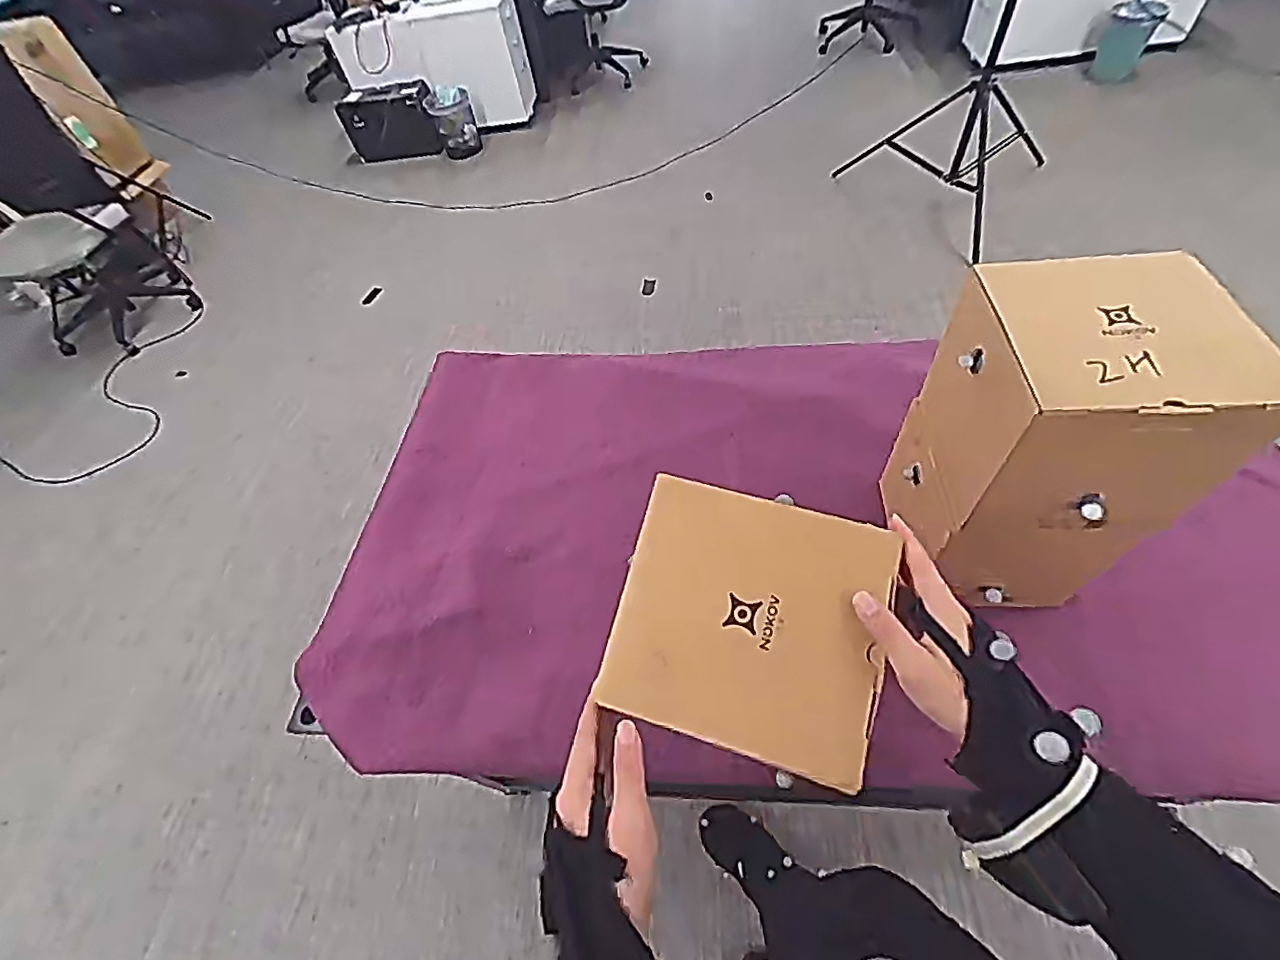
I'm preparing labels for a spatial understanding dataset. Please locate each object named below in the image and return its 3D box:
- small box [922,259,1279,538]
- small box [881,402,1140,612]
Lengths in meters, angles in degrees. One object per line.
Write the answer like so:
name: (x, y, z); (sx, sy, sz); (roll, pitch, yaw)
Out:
small box: (0.370, -0.067, 0.476); (0.168, 0.176, 0.179); (-1, 54, 9)
small box: (0.386, 0.030, 0.609); (0.168, 0.176, 0.179); (0, 54, 9)
